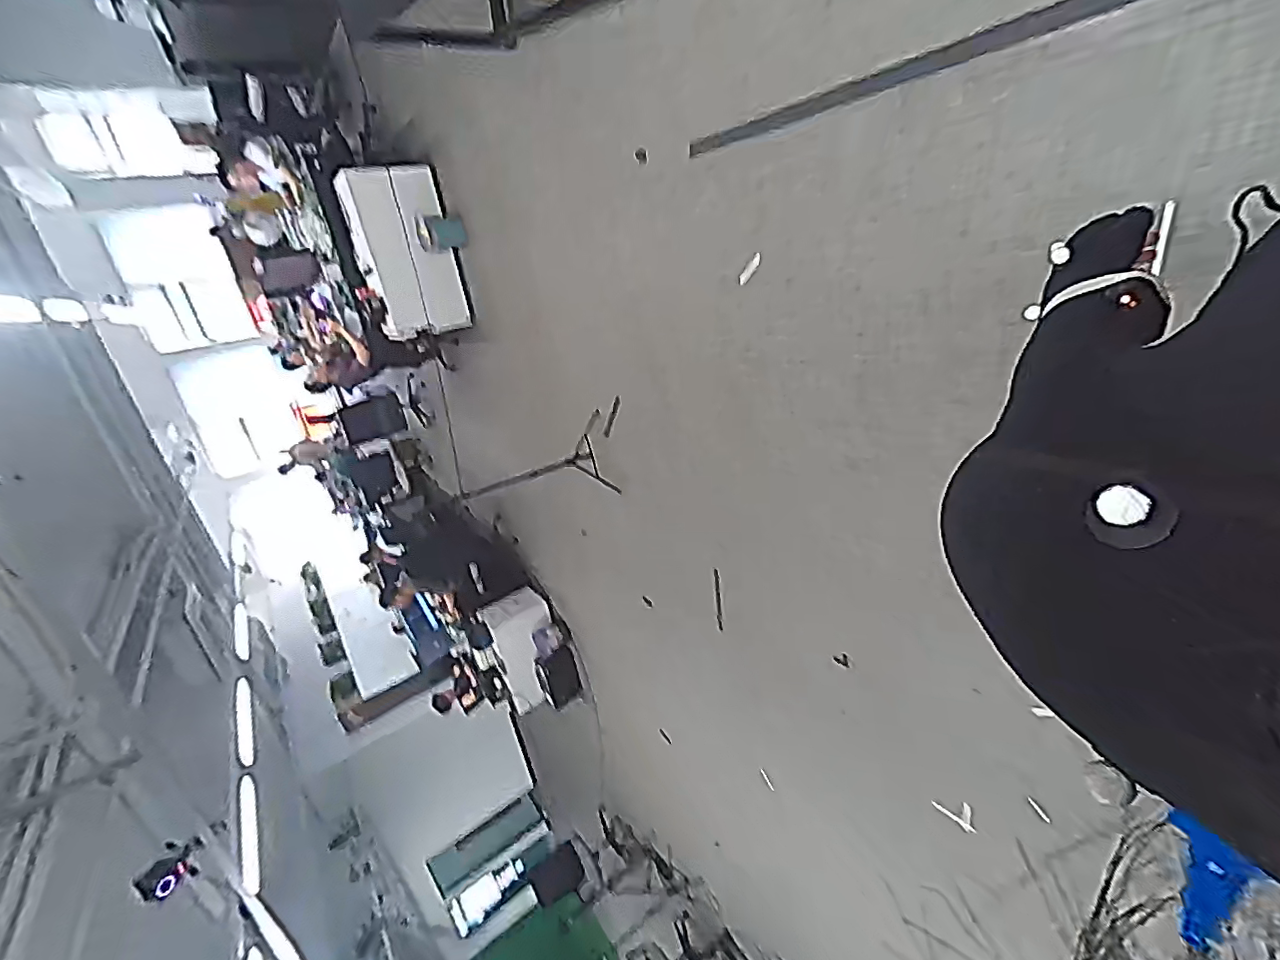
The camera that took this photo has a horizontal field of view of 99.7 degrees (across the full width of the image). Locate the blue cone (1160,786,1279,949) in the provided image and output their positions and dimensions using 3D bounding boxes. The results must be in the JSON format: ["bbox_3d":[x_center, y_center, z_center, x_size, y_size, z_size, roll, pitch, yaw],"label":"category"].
[{"bbox_3d":[1.282,0.921,1.241,0.193,0.380,0.192,26,132,48],"label":"blue cone"}]
